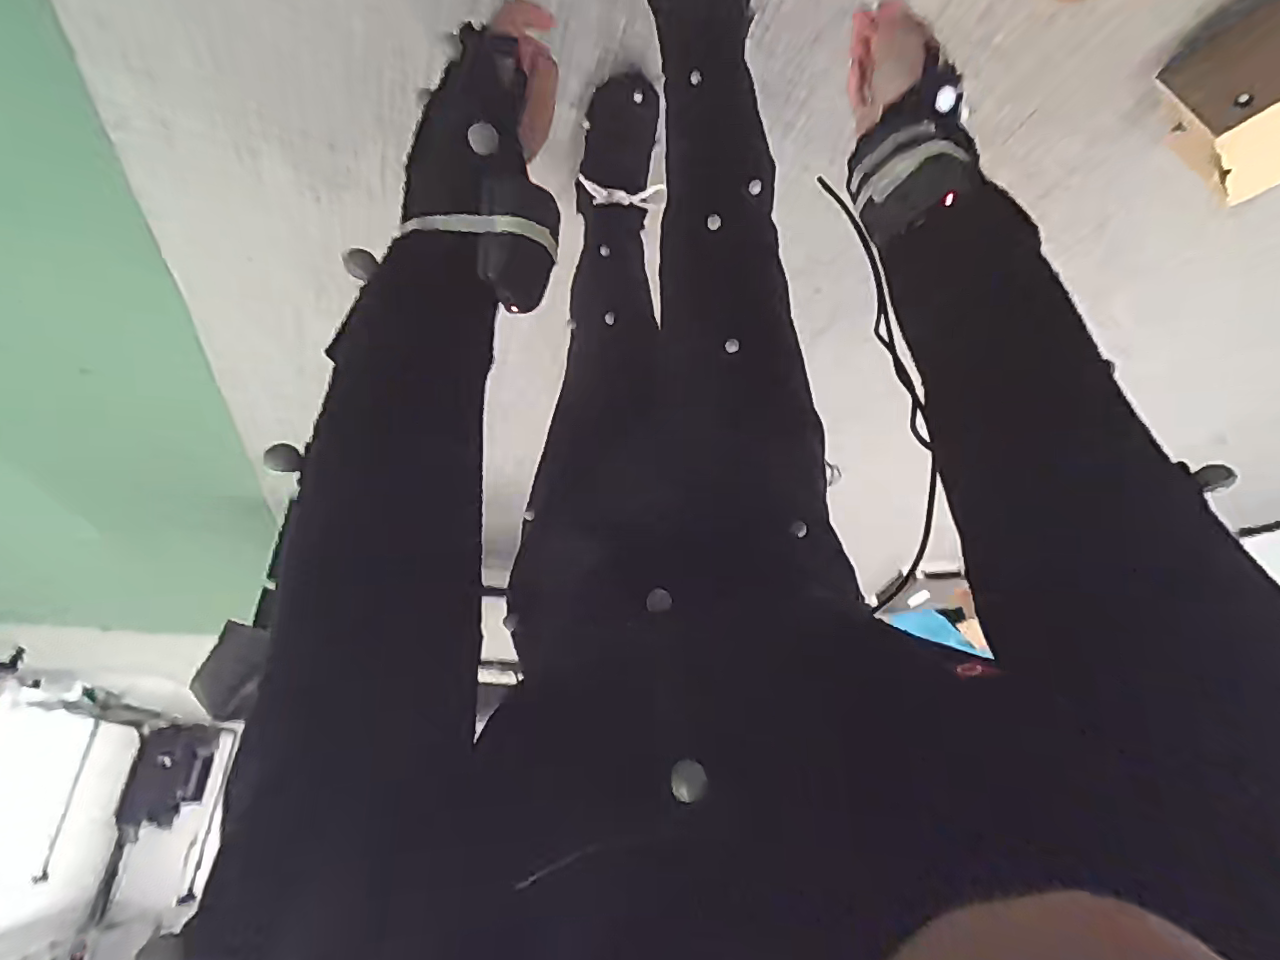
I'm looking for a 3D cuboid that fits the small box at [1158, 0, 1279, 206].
[{"bbox_3d":[0.893,-0.545,0.762,0.168,0.176,0.179,21,144,-36],"label":"small box"}]
